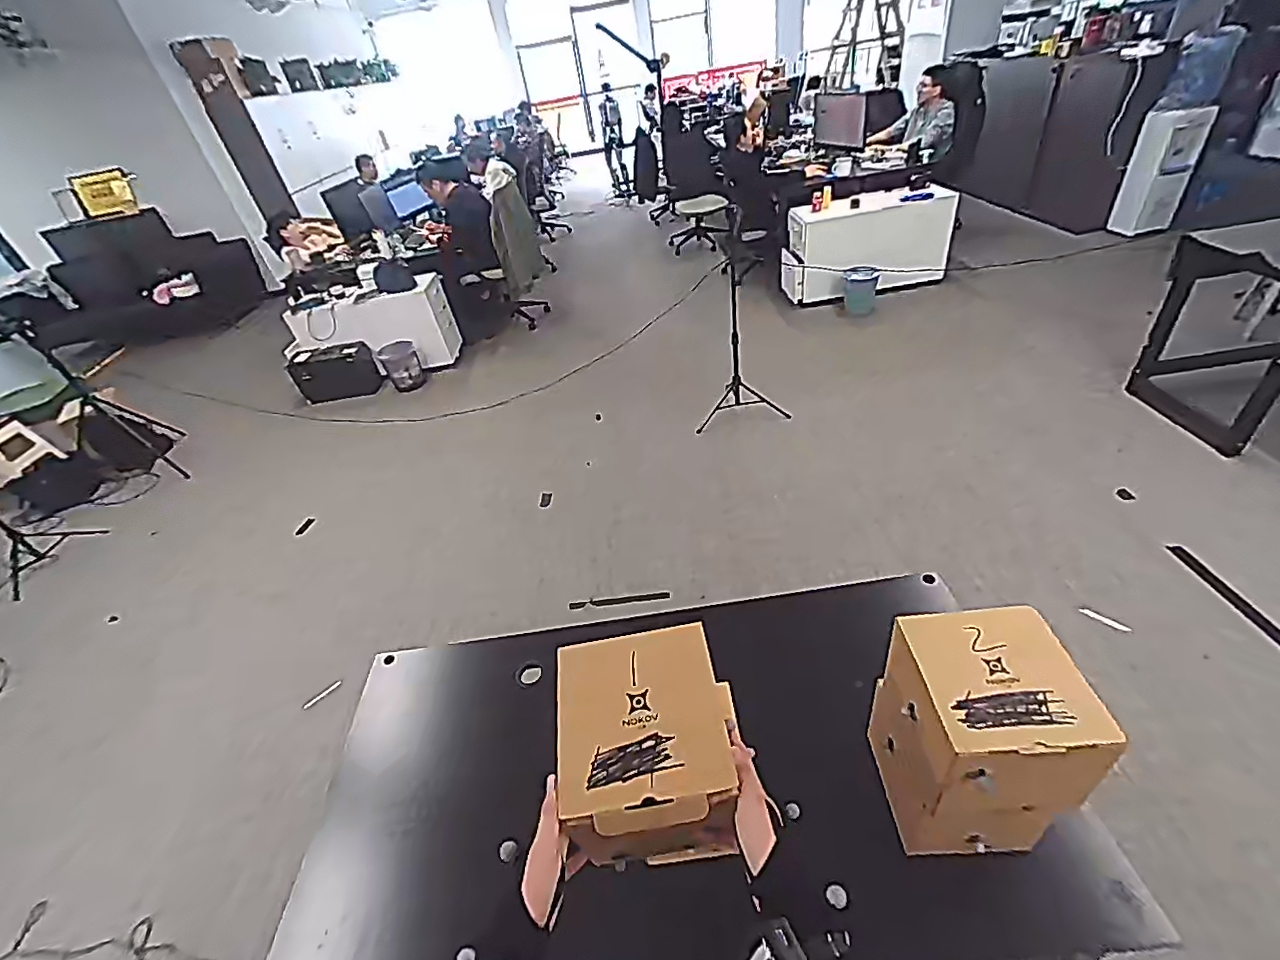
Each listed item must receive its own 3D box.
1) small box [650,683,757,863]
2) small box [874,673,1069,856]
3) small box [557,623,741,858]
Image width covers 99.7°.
[{"bbox_3d":[0.075,0.435,0.808,0.168,0.176,0.179,-9,38,2],"label":"small box"},{"bbox_3d":[0.442,0.398,0.760,0.168,0.176,0.179,-7,38,7],"label":"small box"},{"bbox_3d":[0.011,0.286,0.585,0.168,0.176,0.179,-10,43,1],"label":"small box"}]
